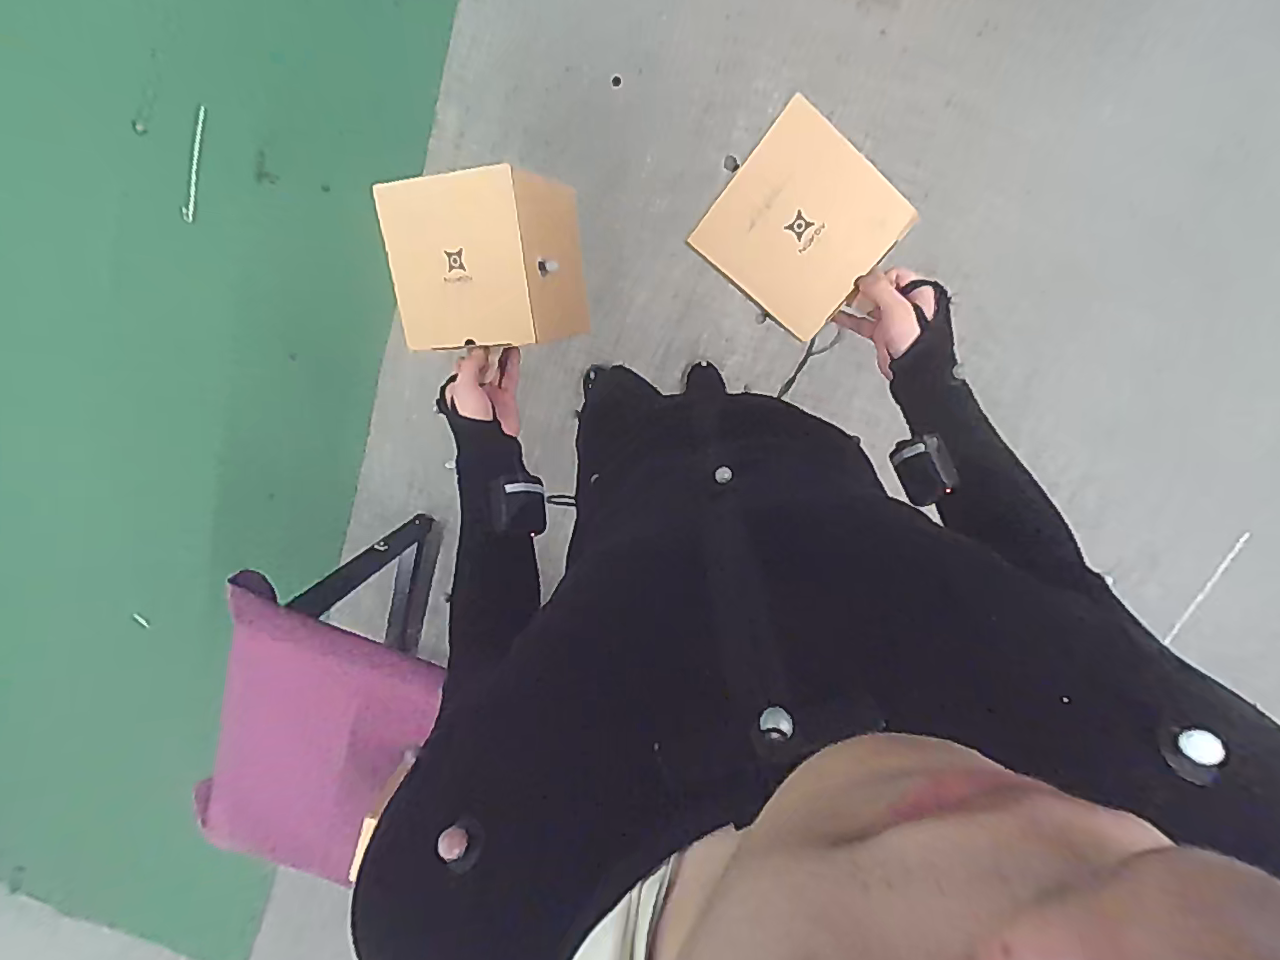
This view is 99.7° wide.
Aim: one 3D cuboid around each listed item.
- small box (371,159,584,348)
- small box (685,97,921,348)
[{"bbox_3d":[-0.174,-0.255,0.635,0.168,0.176,0.179,2,111,15],"label":"small box"},{"bbox_3d":[0.169,-0.282,0.618,0.179,0.176,0.168,38,109,-13],"label":"small box"}]
